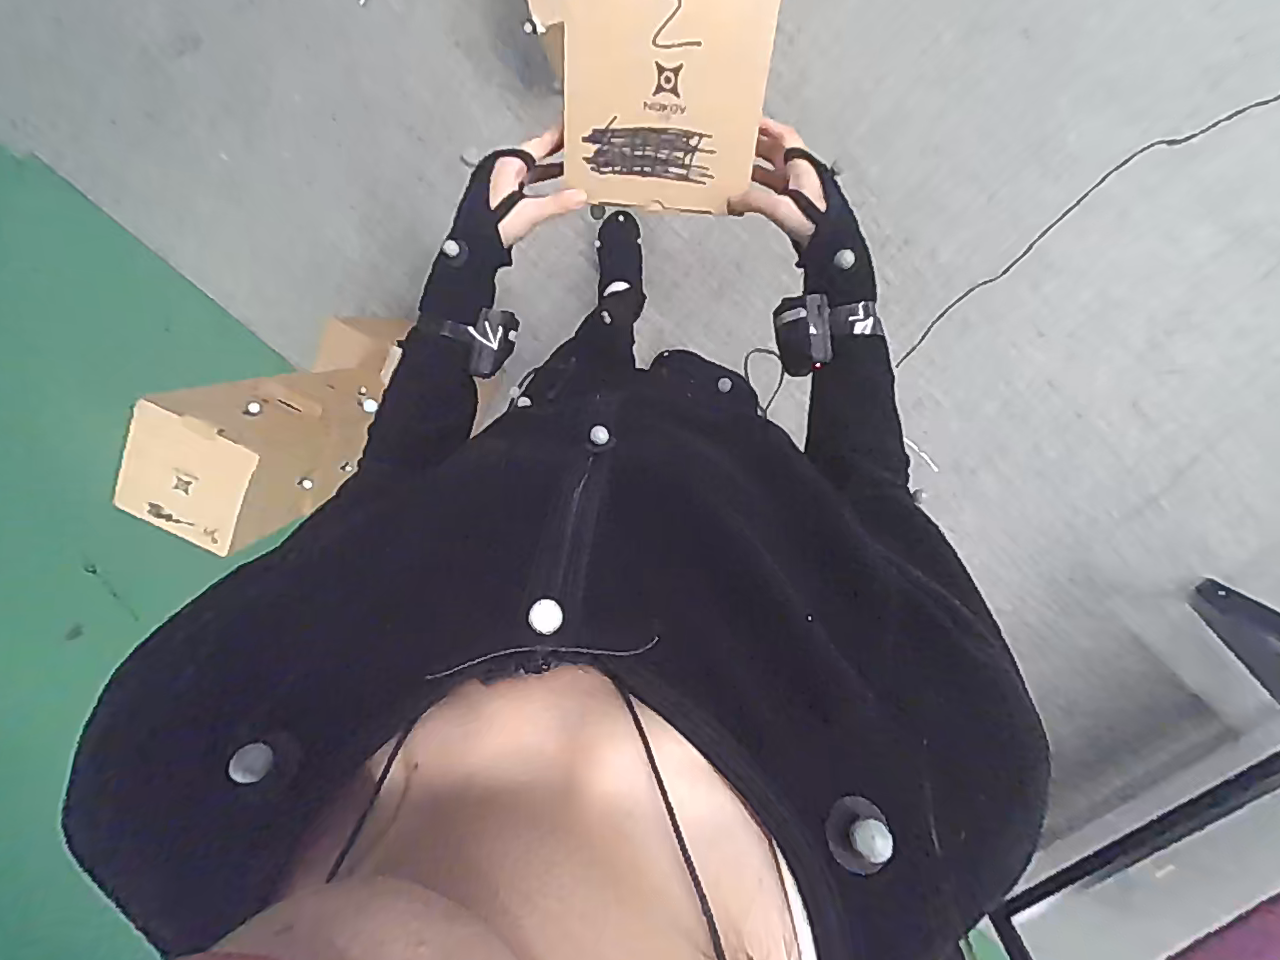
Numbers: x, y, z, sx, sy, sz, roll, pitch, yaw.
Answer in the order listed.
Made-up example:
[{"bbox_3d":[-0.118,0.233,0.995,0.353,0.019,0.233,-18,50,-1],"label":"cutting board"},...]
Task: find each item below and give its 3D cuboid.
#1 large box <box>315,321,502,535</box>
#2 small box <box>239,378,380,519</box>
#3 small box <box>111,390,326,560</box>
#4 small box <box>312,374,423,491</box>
[{"bbox_3d":[-0.599,-0.146,1.360,0.320,0.320,0.408,28,107,-4],"label":"large box"},{"bbox_3d":[-0.593,-0.065,0.957,0.168,0.176,0.179,27,106,-5],"label":"small box"},{"bbox_3d":[-0.606,-0.018,0.800,0.168,0.176,0.179,28,105,-5],"label":"small box"},{"bbox_3d":[-0.583,-0.107,1.115,0.179,0.176,0.168,29,105,-5],"label":"small box"}]
